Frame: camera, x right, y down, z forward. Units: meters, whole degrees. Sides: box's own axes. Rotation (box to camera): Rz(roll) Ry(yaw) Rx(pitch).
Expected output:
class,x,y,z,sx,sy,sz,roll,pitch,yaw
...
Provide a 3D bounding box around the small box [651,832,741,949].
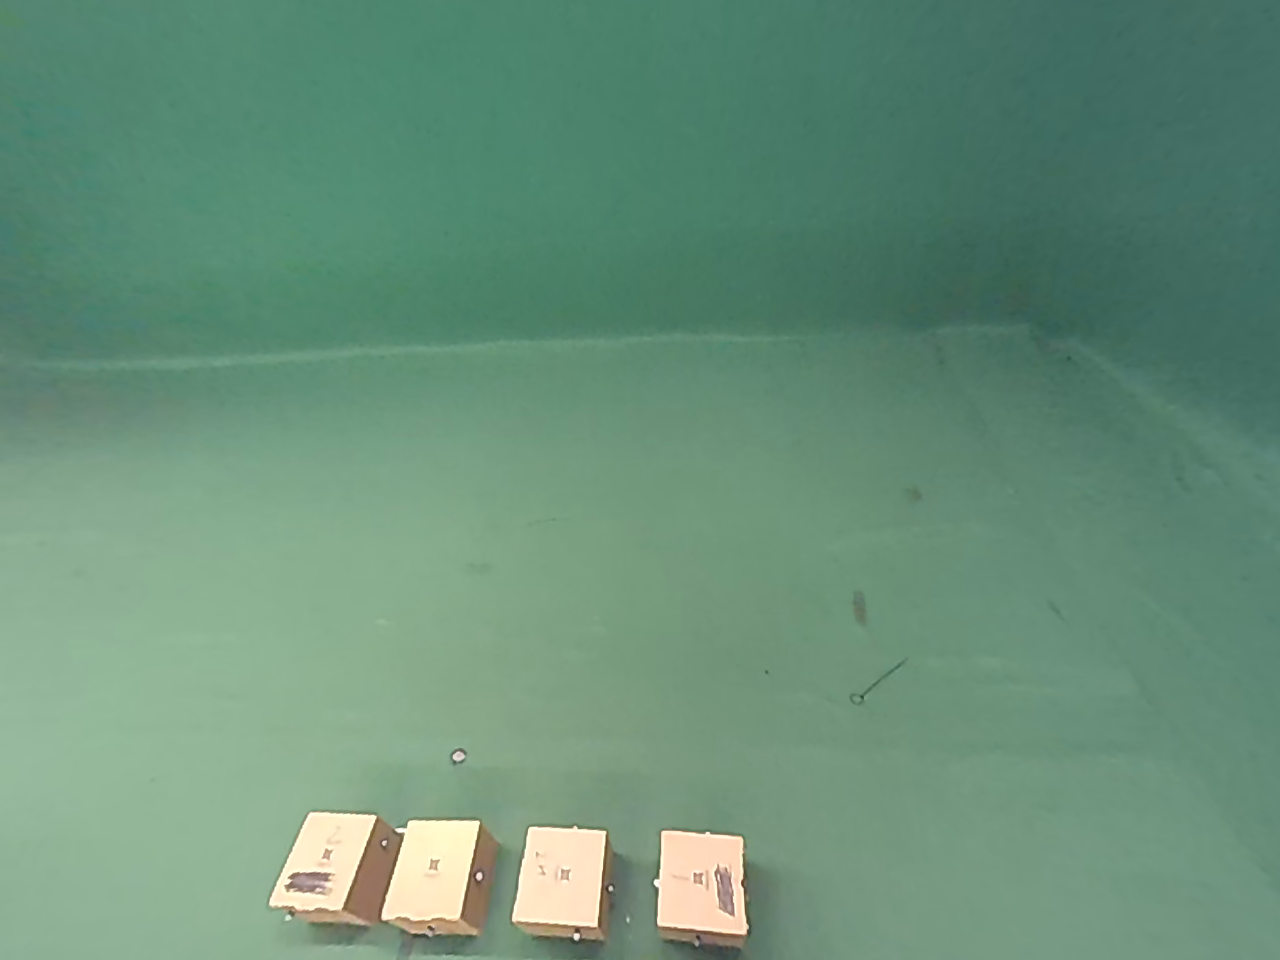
class,x,y,z,sx,sy,sz,roll,pitch,yaw
small box,0.120,0.876,1.151,0.179,0.176,0.168,1,43,7

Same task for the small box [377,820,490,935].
class,x,y,z,sx,sy,sz,roll,pitch,yaw
small box,-0.442,0.879,1.196,0.168,0.176,0.179,-1,44,3

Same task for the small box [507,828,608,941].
class,x,y,z,sx,sy,sz,roll,pitch,yaw
small box,-0.168,0.877,1.172,0.179,0.176,0.168,1,43,5
